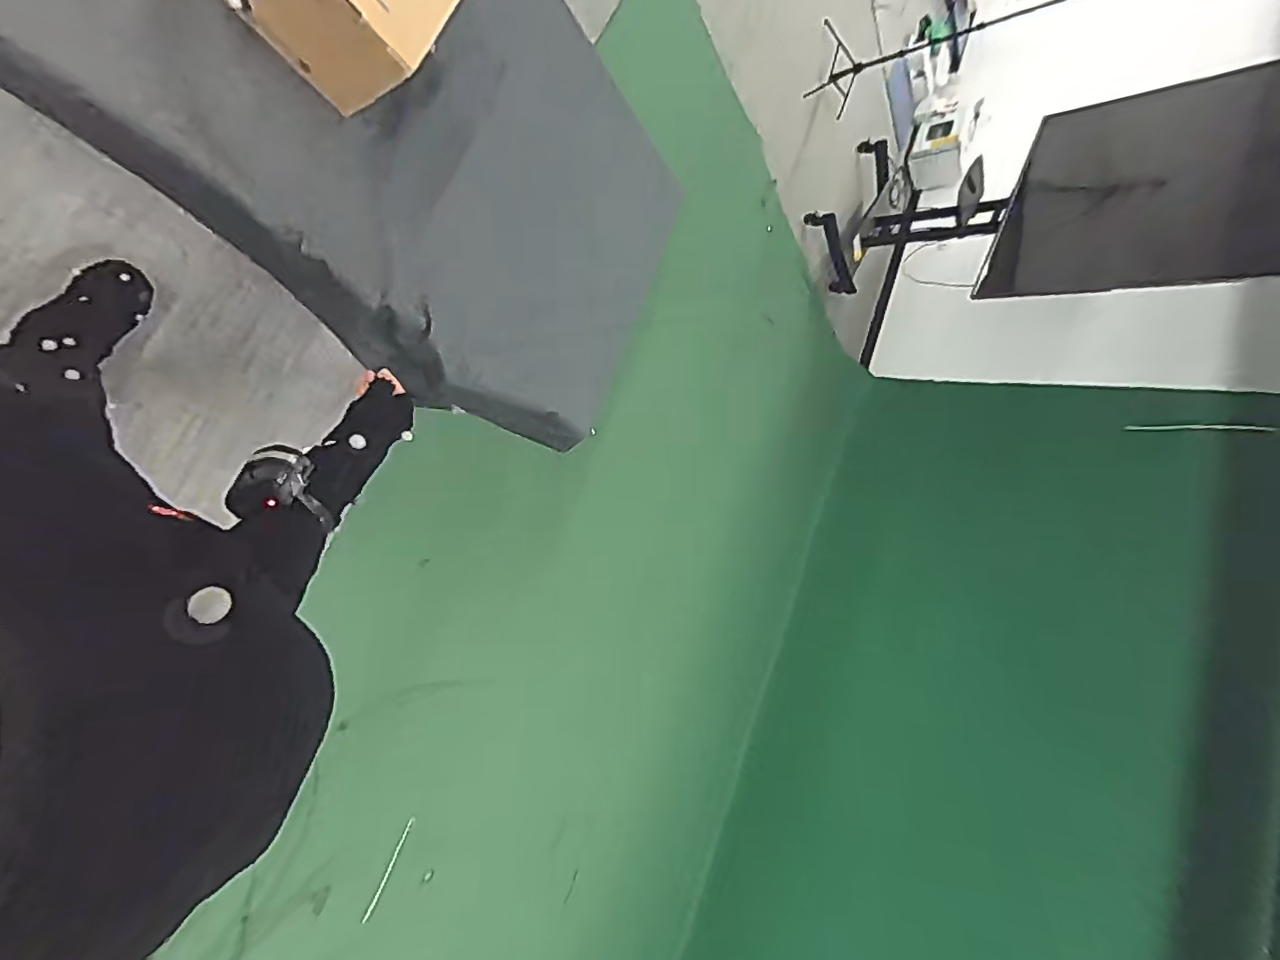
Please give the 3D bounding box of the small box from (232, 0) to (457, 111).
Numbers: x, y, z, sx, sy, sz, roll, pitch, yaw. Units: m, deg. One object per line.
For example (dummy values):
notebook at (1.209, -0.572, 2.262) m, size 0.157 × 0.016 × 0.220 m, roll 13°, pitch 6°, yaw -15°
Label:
small box at (-0.318, -0.548, 0.582) m, size 0.168 × 0.176 × 0.179 m, roll 37°, pitch 69°, yaw -48°
